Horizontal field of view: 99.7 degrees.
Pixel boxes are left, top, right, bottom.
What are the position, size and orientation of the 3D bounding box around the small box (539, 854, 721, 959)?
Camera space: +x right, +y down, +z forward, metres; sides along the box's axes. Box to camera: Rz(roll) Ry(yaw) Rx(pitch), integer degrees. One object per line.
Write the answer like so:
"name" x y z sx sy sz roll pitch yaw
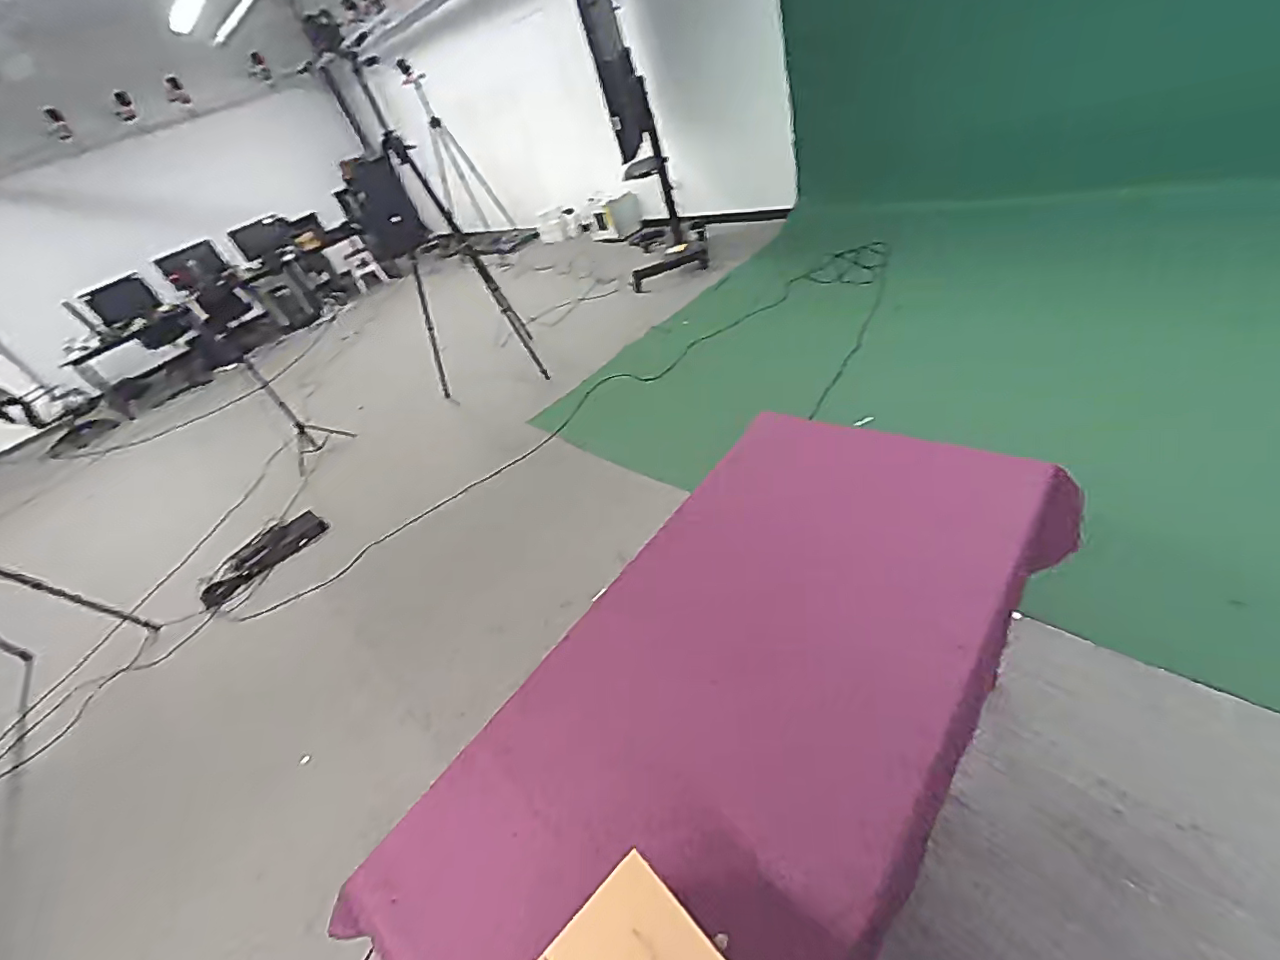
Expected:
"small box" -0.002 0.515 0.521 0.179 0.176 0.168 -38 52 -24
